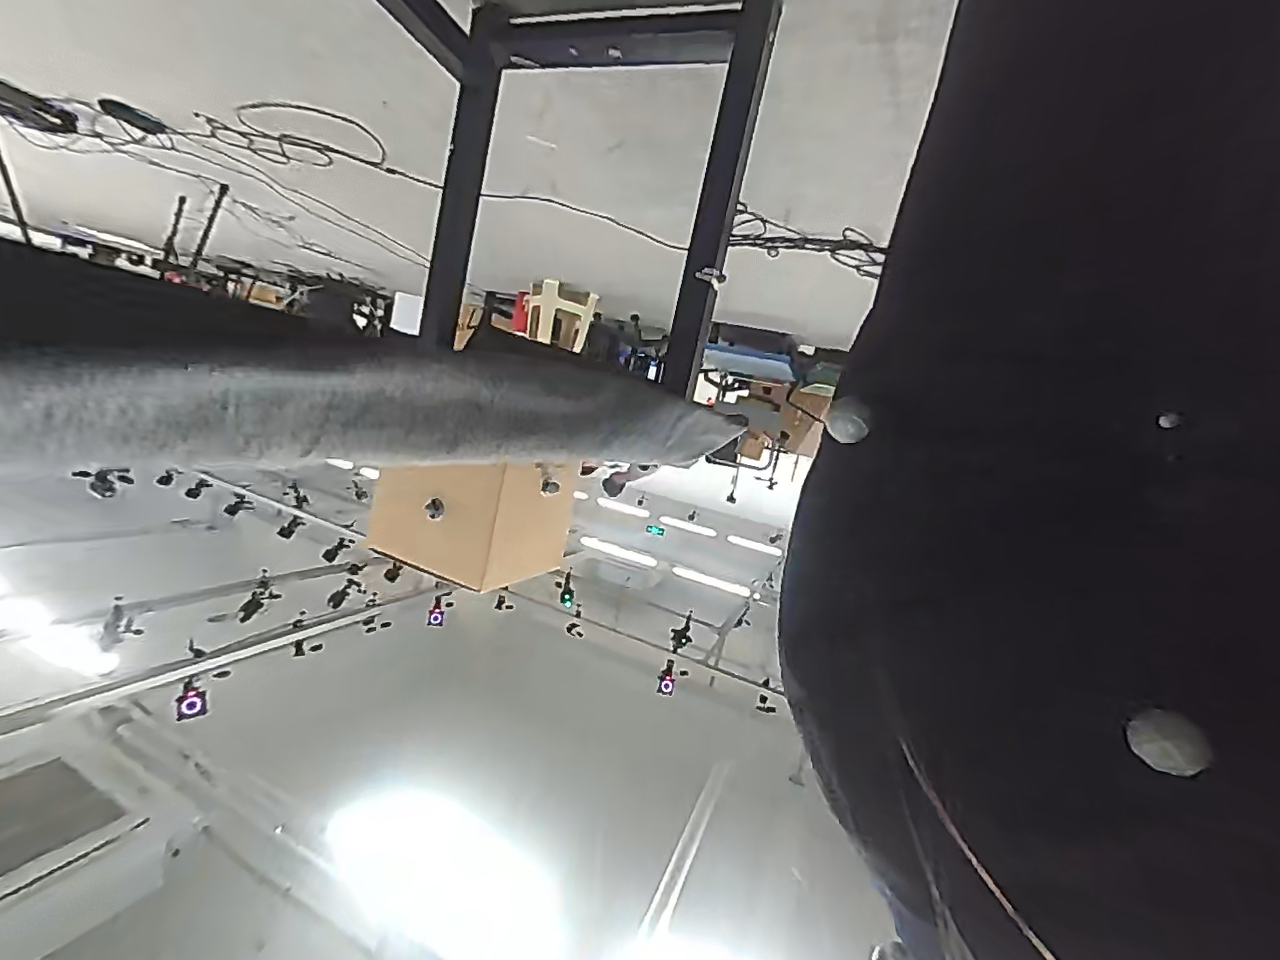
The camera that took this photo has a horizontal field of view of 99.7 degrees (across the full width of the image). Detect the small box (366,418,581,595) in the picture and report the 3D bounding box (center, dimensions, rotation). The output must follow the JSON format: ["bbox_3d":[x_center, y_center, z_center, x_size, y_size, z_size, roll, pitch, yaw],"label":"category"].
[{"bbox_3d":[-0.195,0.020,0.665,0.179,0.176,0.168,15,-174,22],"label":"small box"}]
